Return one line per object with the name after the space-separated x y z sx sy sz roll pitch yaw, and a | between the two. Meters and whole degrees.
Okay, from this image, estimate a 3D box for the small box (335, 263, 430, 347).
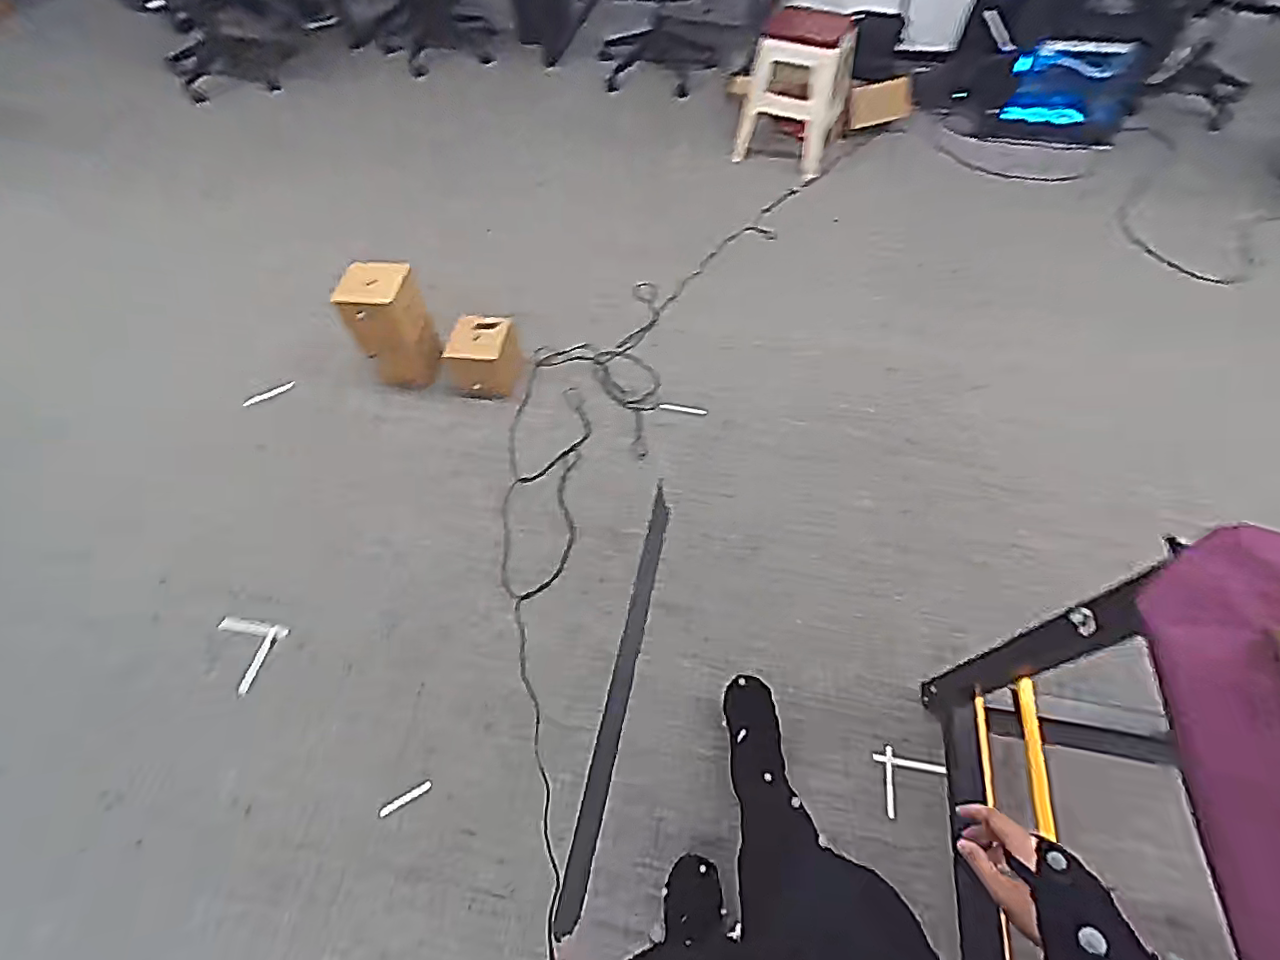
-0.743 -0.509 1.585 0.179 0.176 0.168 3 58 4 | small box

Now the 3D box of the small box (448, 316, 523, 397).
-0.474 -0.385 1.693 0.168 0.176 0.179 6 59 6 | small box
